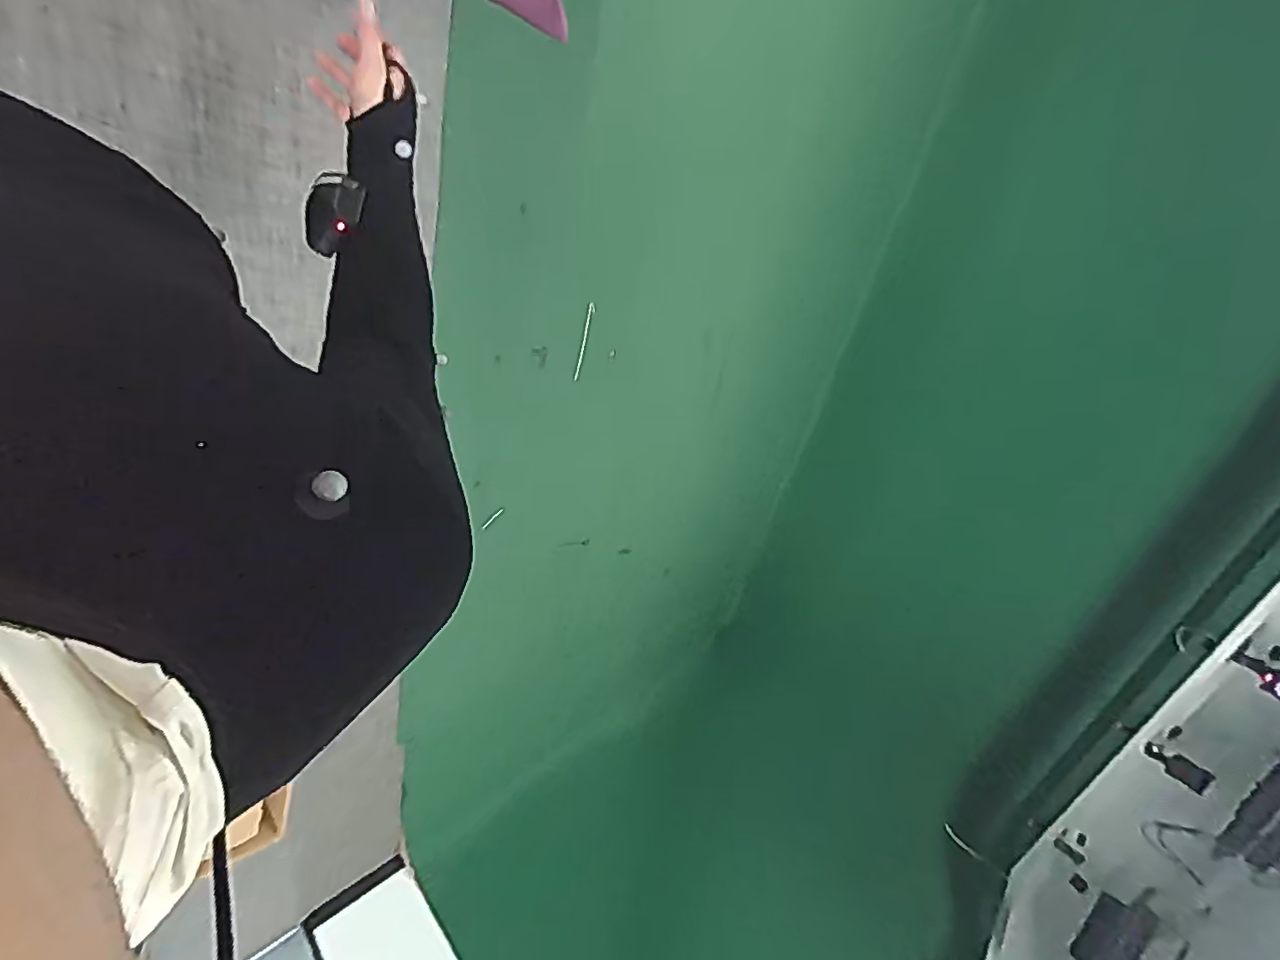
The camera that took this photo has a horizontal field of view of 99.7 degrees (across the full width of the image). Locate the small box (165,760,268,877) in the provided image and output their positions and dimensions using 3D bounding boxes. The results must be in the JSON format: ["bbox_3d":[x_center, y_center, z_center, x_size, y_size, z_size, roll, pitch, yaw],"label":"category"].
[{"bbox_3d":[-1.142,0.899,1.455,0.179,0.176,0.168,-1,118,-51],"label":"small box"}]
